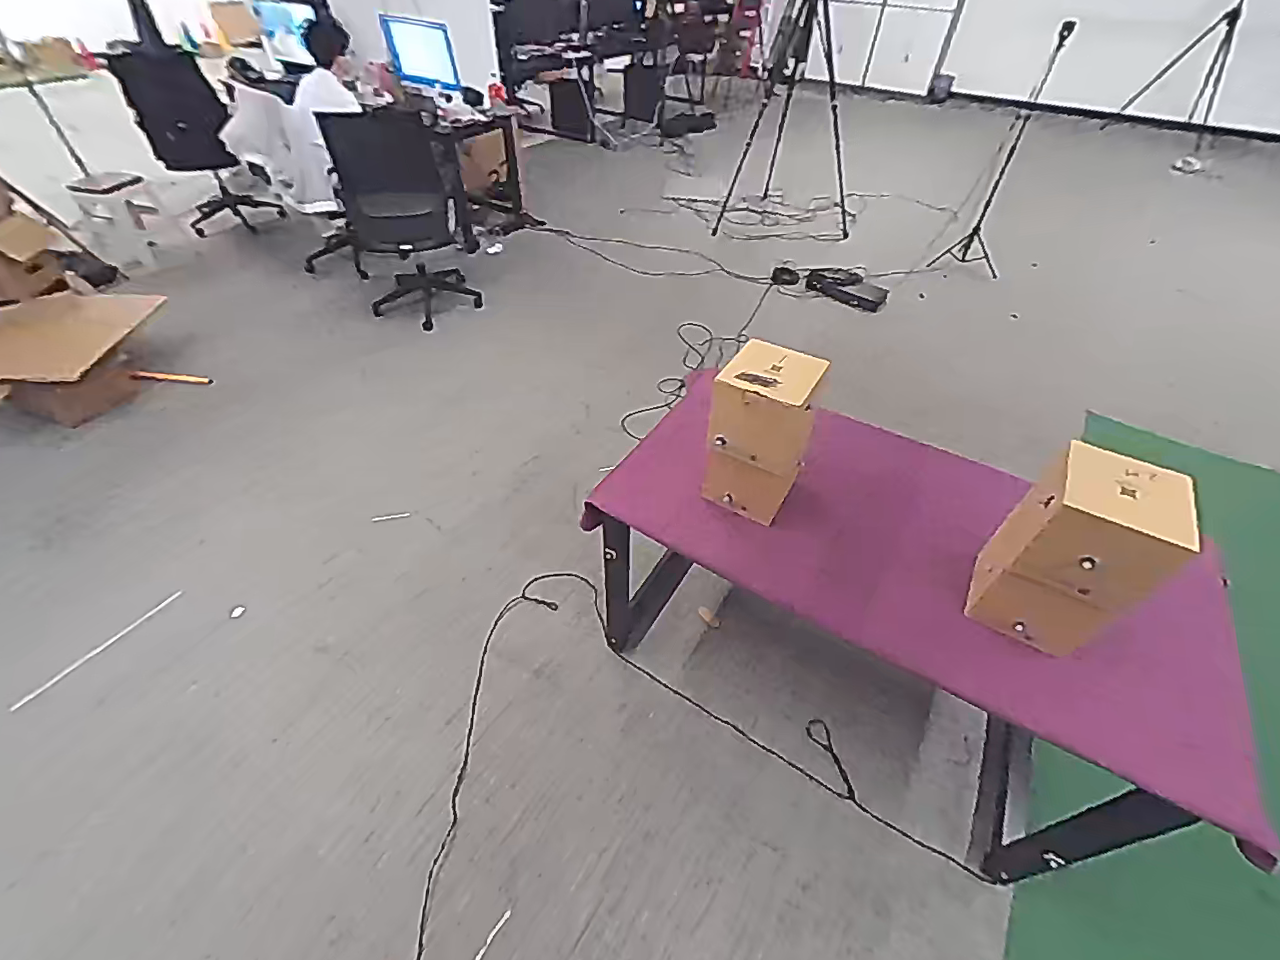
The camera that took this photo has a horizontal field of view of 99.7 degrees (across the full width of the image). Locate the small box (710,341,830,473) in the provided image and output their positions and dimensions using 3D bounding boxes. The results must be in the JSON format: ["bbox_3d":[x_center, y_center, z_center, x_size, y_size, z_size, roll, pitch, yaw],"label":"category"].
[{"bbox_3d":[0.247,-0.141,1.058,0.168,0.176,0.179,24,48,21],"label":"small box"}]

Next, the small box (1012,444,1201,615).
[{"bbox_3d":[0.724,0.080,0.856,0.168,0.176,0.179,26,50,21],"label":"small box"}]

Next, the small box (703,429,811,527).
[{"bbox_3d":[0.249,-0.031,1.180,0.168,0.176,0.179,25,50,21],"label":"small box"}]
